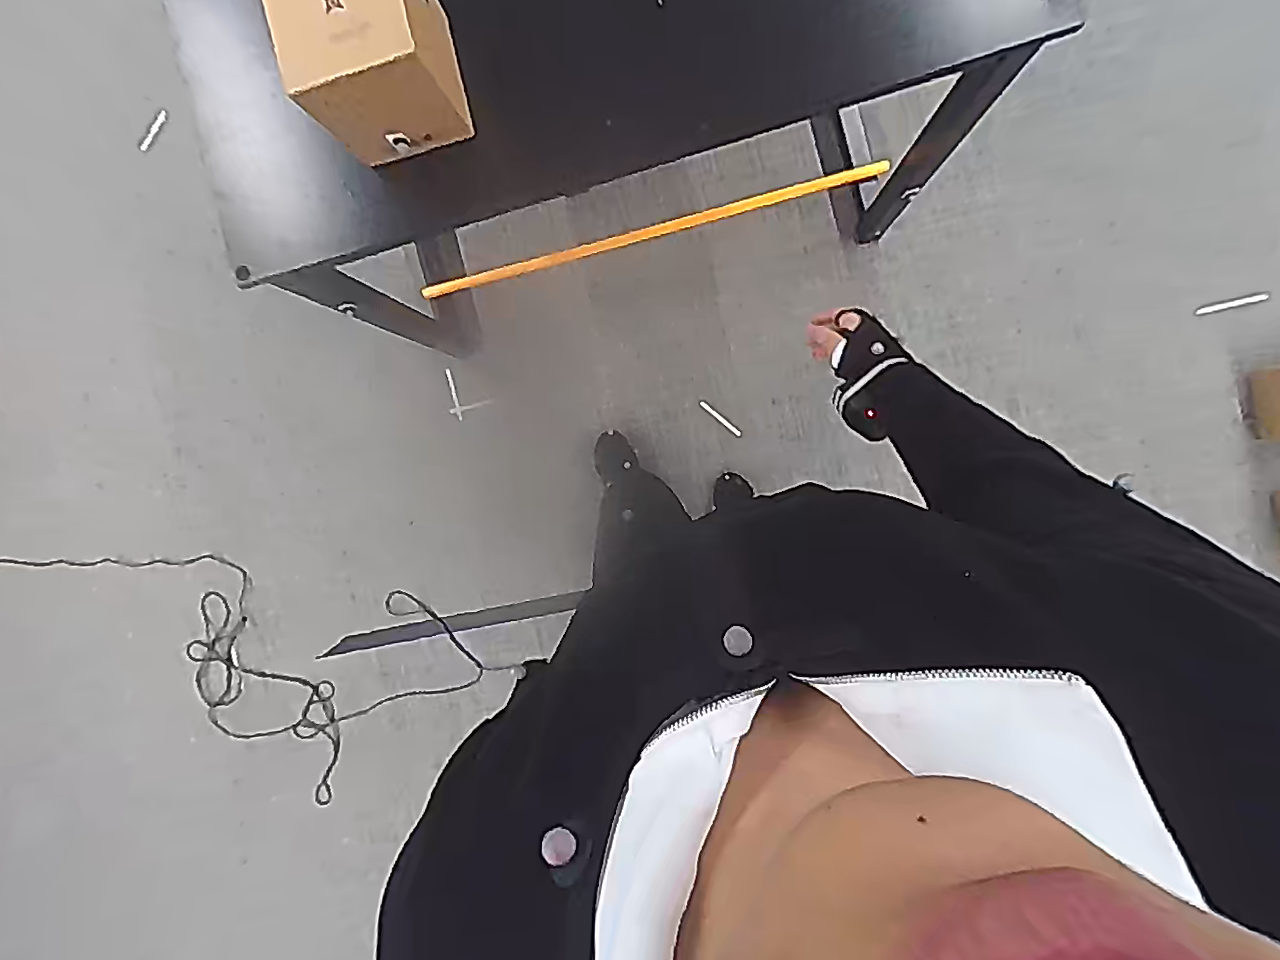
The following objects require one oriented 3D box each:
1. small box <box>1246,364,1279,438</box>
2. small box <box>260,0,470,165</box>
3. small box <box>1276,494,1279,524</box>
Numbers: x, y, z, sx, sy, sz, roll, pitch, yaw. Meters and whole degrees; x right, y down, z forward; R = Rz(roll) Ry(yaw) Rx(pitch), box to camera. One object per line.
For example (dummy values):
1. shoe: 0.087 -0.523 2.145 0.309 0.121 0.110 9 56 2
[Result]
1. small box: 1.574 -0.194 1.243 0.168 0.176 0.179 -12 92 6
2. small box: -0.339 -0.545 0.684 0.168 0.176 0.179 -14 92 7
3. small box: 1.653 0.094 1.254 0.179 0.176 0.168 -16 91 7
